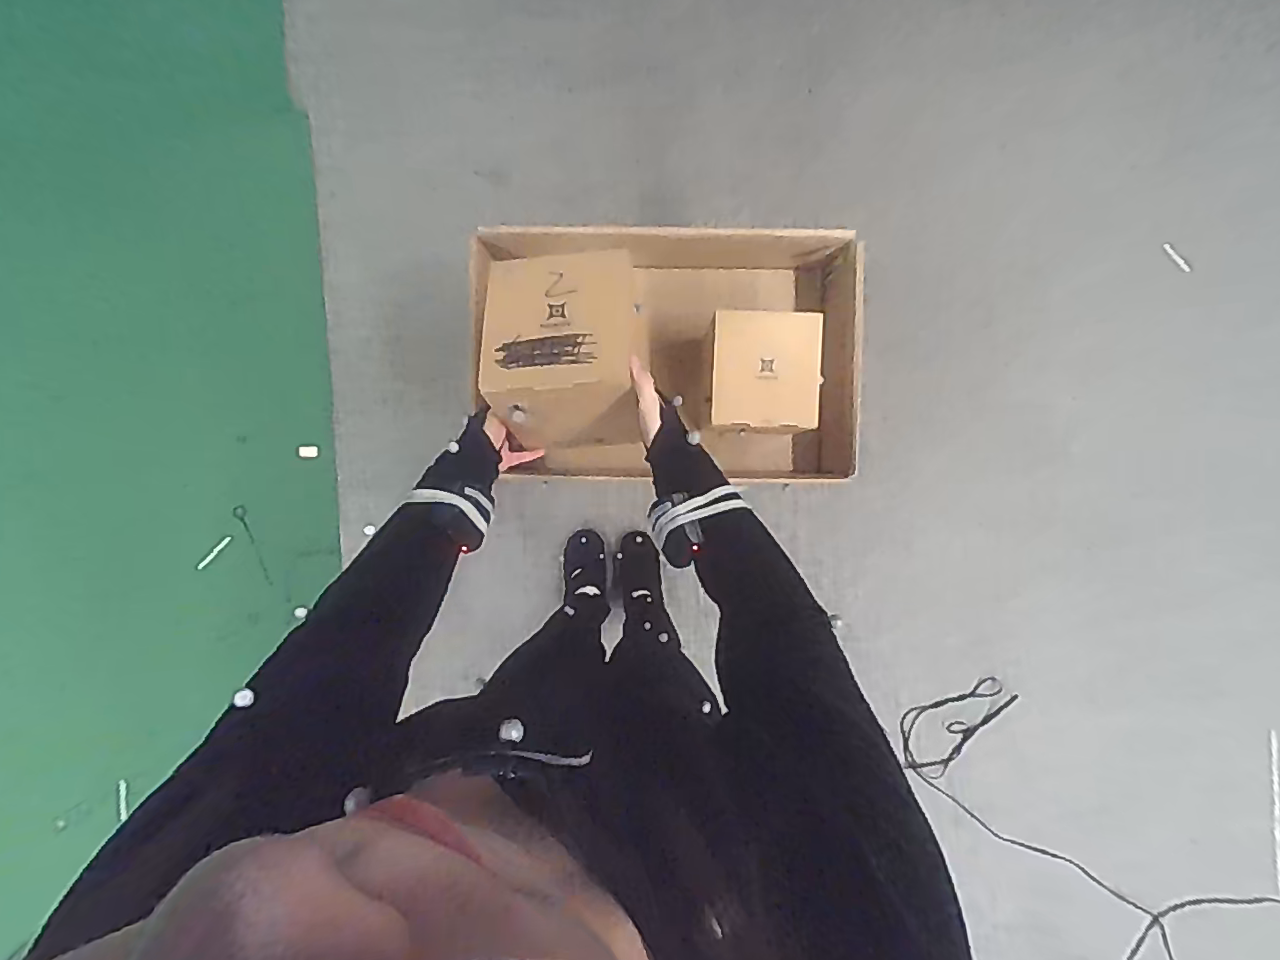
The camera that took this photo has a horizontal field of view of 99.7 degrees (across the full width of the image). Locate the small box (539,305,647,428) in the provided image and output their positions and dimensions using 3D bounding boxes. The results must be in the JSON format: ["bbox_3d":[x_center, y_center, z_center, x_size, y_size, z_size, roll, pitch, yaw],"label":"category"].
[{"bbox_3d":[-0.072,-0.179,0.897,0.168,0.176,0.179,0,93,0],"label":"small box"}]
